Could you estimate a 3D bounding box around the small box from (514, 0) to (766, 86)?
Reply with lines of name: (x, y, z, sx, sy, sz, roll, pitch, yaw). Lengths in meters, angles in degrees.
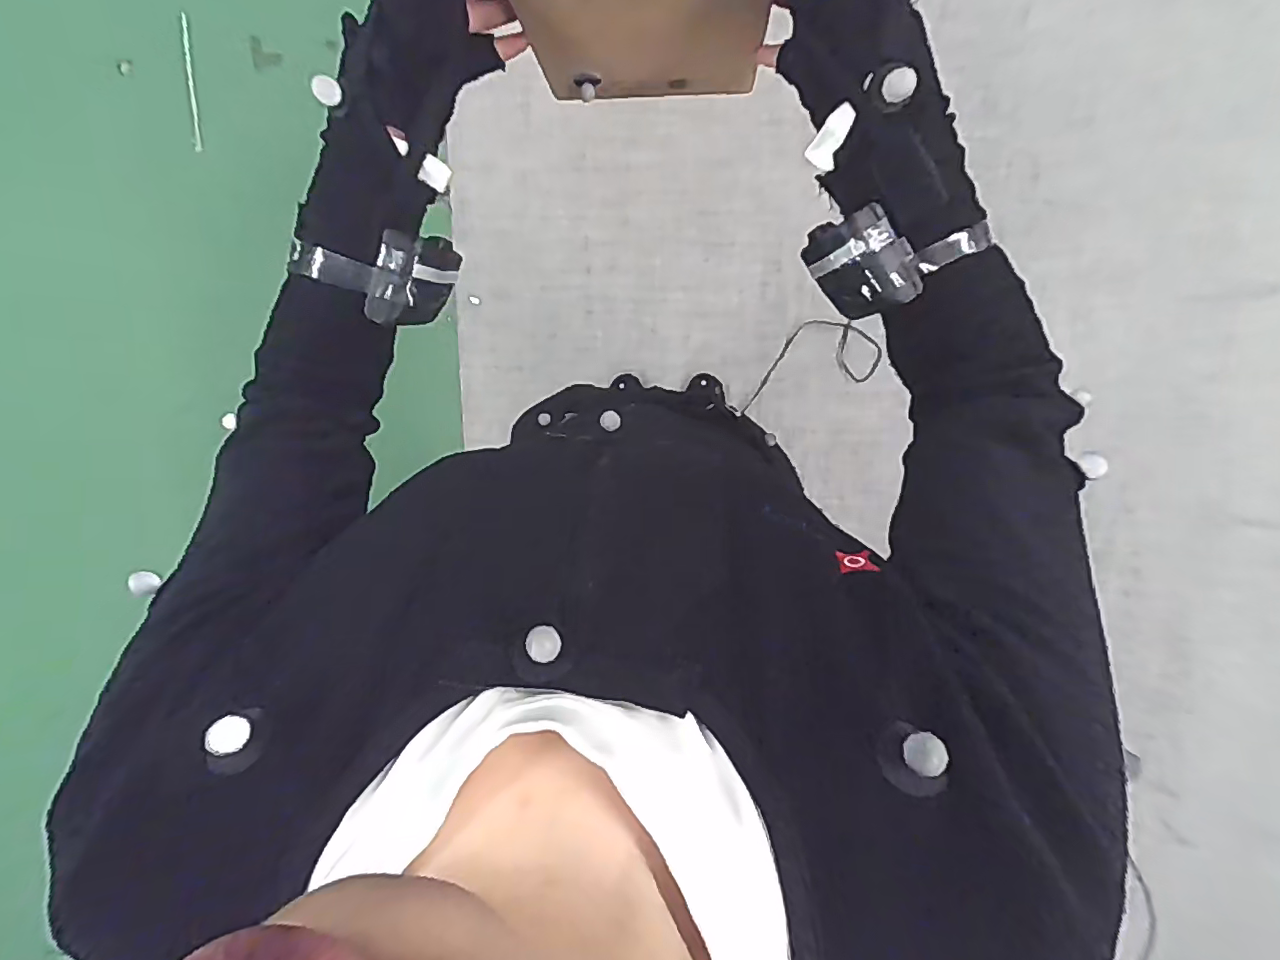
small box: (0.003, -0.388, 0.349, 0.168, 0.176, 0.179, 1, 99, 5)

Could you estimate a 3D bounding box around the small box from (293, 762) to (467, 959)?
small box: (-0.371, 0.558, 0.798, 0.168, 0.176, 0.179, 14, 105, 3)
